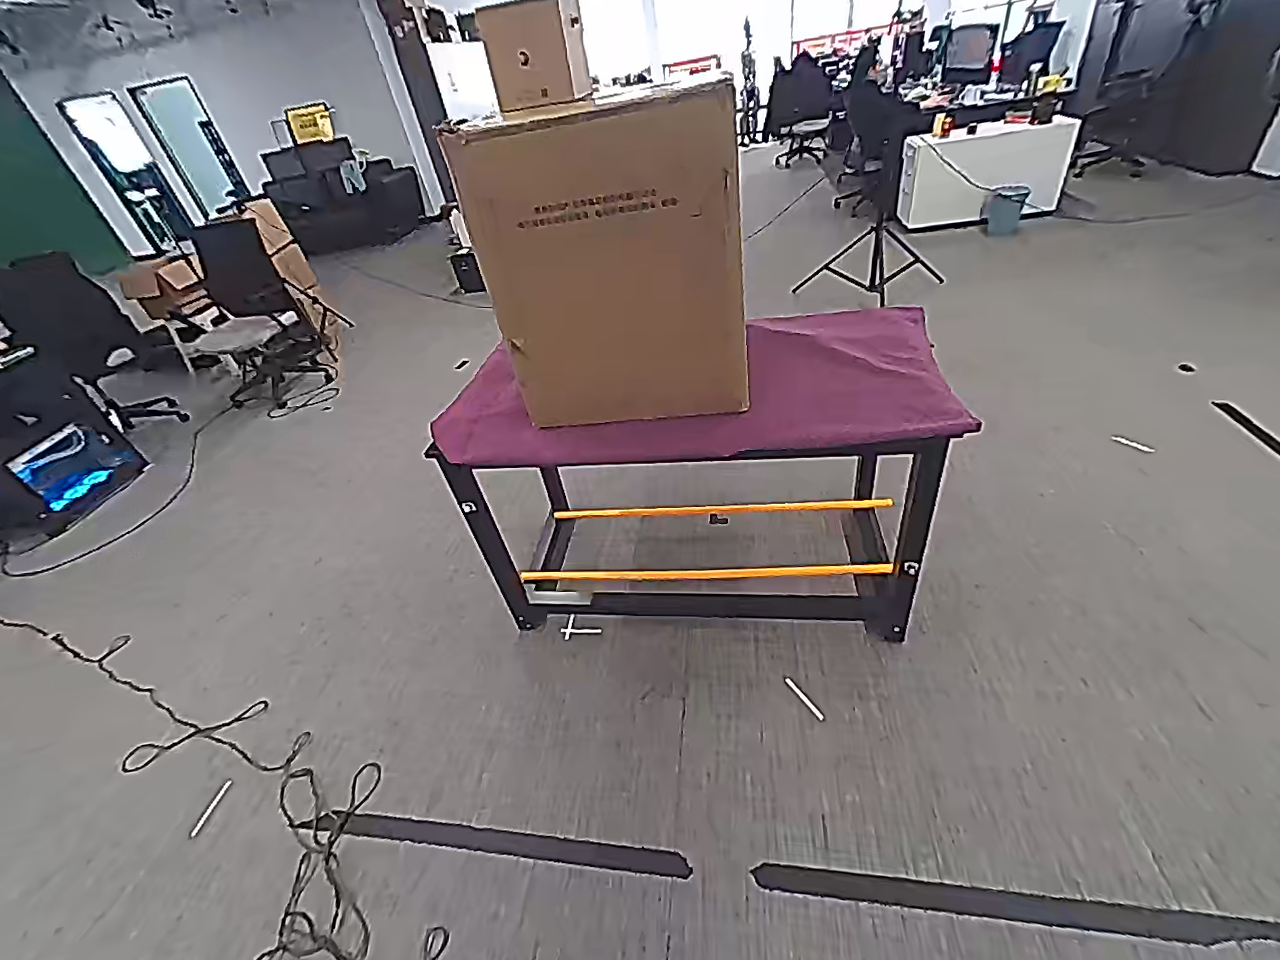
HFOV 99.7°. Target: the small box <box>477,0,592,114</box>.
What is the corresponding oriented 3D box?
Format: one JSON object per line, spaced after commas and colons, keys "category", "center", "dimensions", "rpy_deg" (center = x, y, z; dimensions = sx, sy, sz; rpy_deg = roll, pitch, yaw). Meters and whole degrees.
{"category": "small box", "center": [-0.205, -0.869, 1.116], "dimensions": [0.168, 0.176, 0.179], "rpy_deg": [0, 39, 12]}
